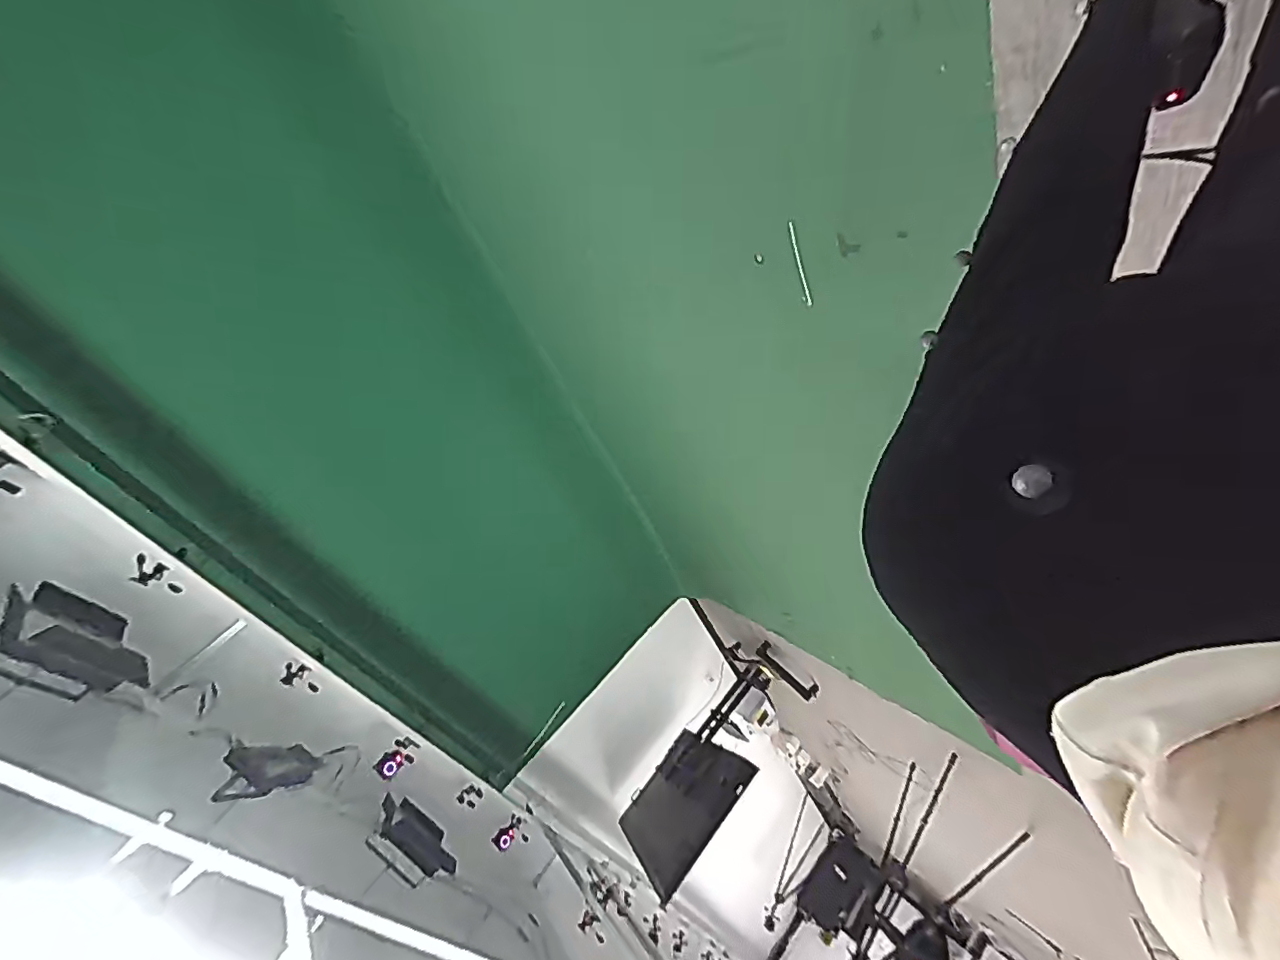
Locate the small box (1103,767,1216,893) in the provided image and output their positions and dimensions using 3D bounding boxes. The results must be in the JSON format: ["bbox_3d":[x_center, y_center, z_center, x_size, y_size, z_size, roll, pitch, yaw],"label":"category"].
[{"bbox_3d":[1.284,0.860,1.340,0.168,0.176,0.179,17,145,50],"label":"small box"}]
